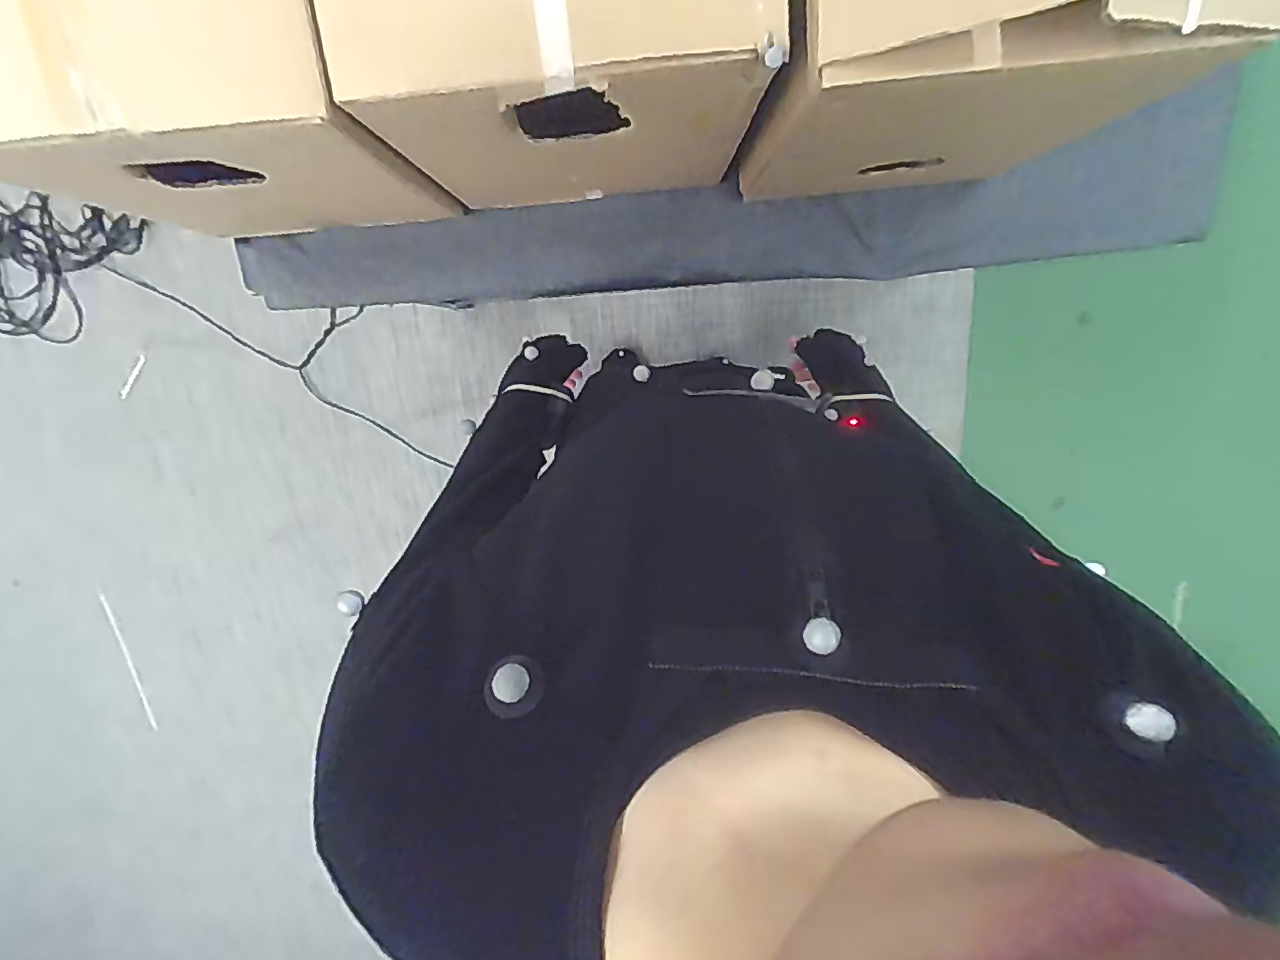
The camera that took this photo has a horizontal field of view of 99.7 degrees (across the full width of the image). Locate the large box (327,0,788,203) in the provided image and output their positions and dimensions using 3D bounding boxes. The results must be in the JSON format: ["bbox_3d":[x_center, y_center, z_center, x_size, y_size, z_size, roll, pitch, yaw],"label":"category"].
[{"bbox_3d":[-0.073,-0.505,0.464,0.320,0.320,0.408,-5,105,3],"label":"large box"}]
